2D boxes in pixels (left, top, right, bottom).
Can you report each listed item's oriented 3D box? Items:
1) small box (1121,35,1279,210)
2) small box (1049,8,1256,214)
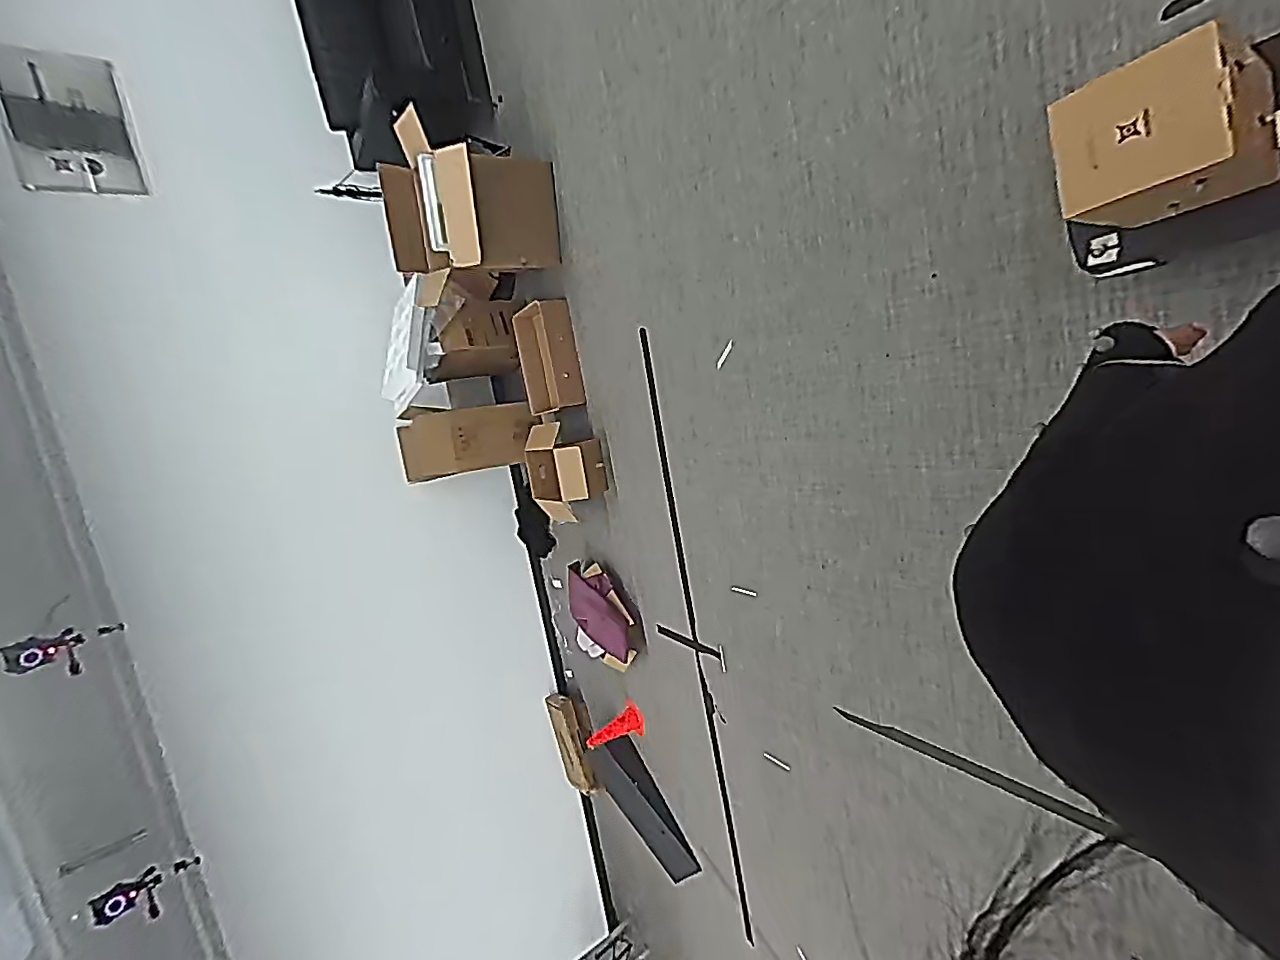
[{"bbox_3d":[0.850,-0.533,0.844,0.179,0.176,0.168,-4,100,57],"label":"small box"},{"bbox_3d":[0.717,-0.494,0.756,0.179,0.176,0.168,-5,98,57],"label":"small box"}]
